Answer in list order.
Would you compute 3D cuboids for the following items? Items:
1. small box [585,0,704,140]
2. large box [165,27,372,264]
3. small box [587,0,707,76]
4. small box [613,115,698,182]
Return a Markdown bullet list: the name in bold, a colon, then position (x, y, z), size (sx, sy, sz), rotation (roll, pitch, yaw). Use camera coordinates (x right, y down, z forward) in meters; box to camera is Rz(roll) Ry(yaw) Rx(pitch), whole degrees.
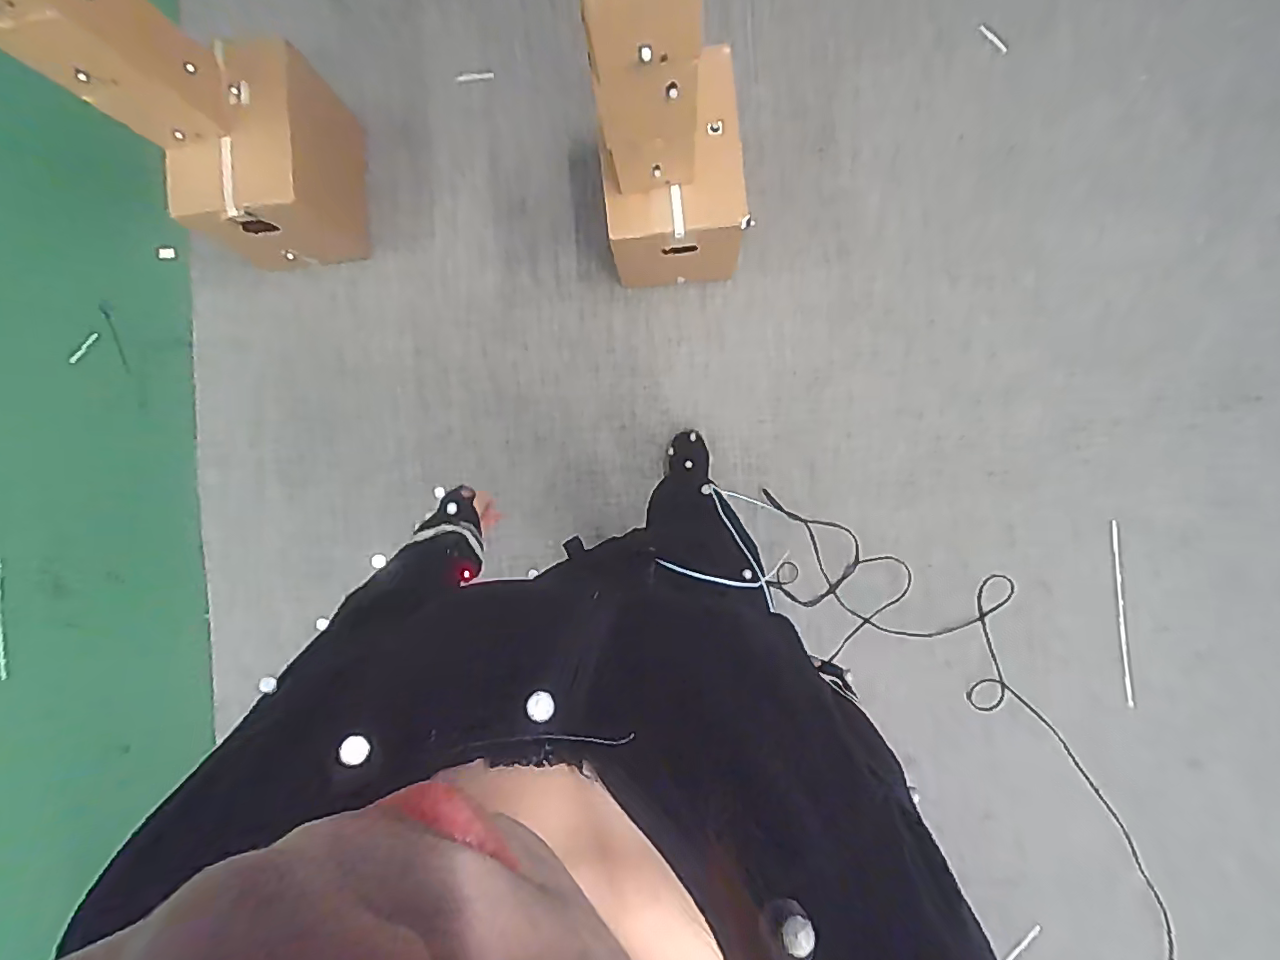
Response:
- **small box**: position (0.011, -0.729, 0.933), size (0.179, 0.176, 0.168), rotation (-8, 89, 6)
- **large box**: position (-0.939, -0.834, 1.405), size (0.320, 0.320, 0.408), rotation (-5, 89, 5)
- **small box**: position (-0.001, -0.734, 0.769), size (0.168, 0.176, 0.179), rotation (-11, 90, 5)
- **small box**: position (0.027, -0.733, 1.098), size (0.168, 0.176, 0.179), rotation (-8, 90, 5)
